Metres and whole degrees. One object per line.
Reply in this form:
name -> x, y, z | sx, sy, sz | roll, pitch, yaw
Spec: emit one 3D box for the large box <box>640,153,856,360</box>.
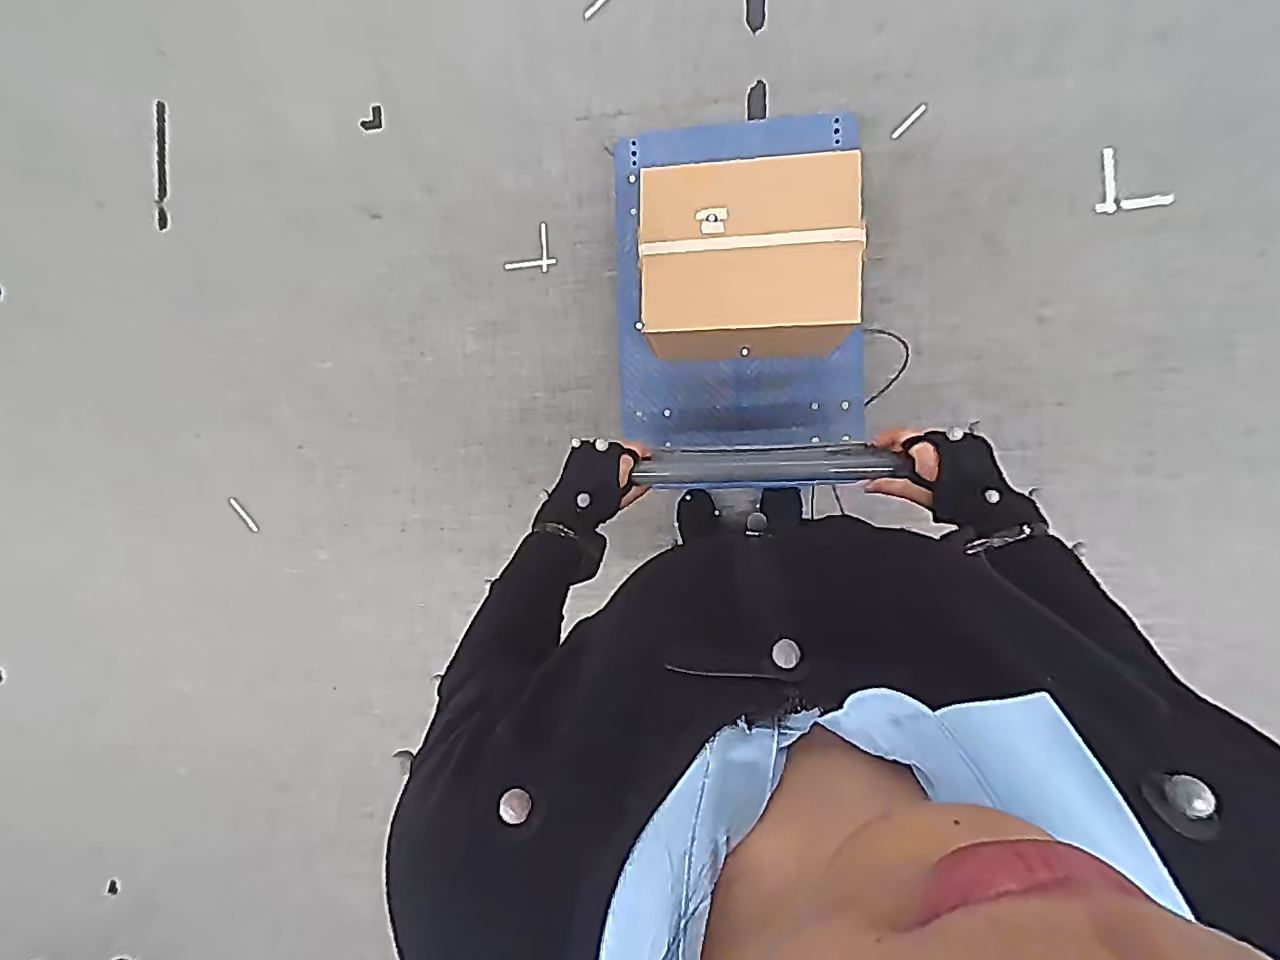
large box -> 0.225, -0.449, 1.175 | 0.408, 0.320, 0.320 | -1, 91, 9
